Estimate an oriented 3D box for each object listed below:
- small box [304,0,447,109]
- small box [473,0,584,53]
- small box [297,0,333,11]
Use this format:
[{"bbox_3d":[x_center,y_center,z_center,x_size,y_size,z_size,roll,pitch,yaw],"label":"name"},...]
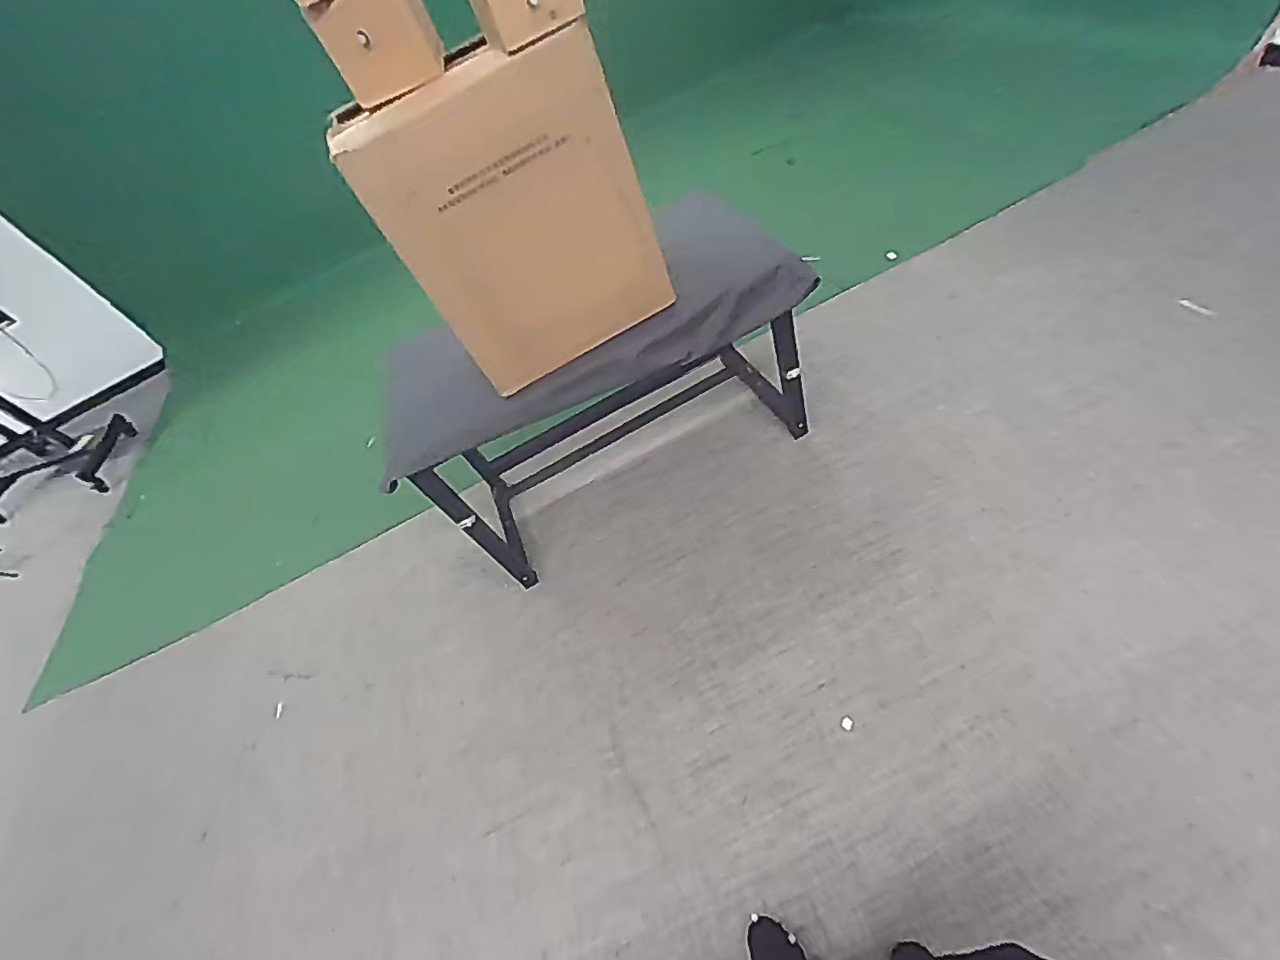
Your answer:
[{"bbox_3d":[-0.494,-0.853,1.032,0.179,0.176,0.168,-19,57,7],"label":"small box"},{"bbox_3d":[-0.224,-0.914,0.984,0.168,0.176,0.179,-30,49,-2],"label":"small box"},{"bbox_3d":[-0.552,-0.928,0.899,0.179,0.176,0.168,-33,57,-5],"label":"small box"}]
